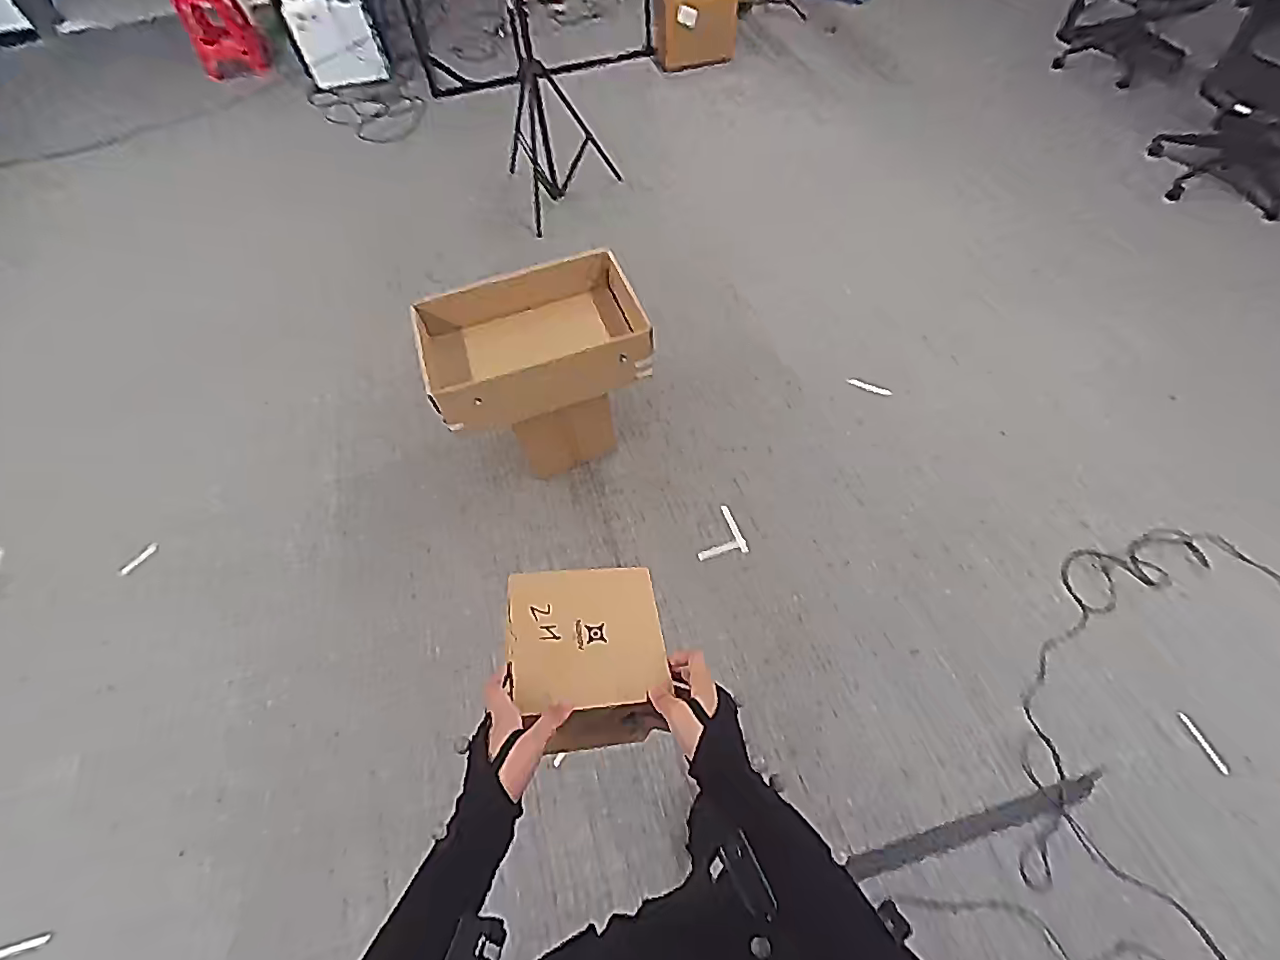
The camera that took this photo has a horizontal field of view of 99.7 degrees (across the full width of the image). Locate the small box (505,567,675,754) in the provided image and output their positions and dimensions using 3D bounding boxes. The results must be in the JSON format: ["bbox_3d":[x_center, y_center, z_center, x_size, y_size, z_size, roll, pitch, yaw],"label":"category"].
[{"bbox_3d":[-0.075,0.223,0.669,0.179,0.176,0.168,-1,50,-15],"label":"small box"}]
